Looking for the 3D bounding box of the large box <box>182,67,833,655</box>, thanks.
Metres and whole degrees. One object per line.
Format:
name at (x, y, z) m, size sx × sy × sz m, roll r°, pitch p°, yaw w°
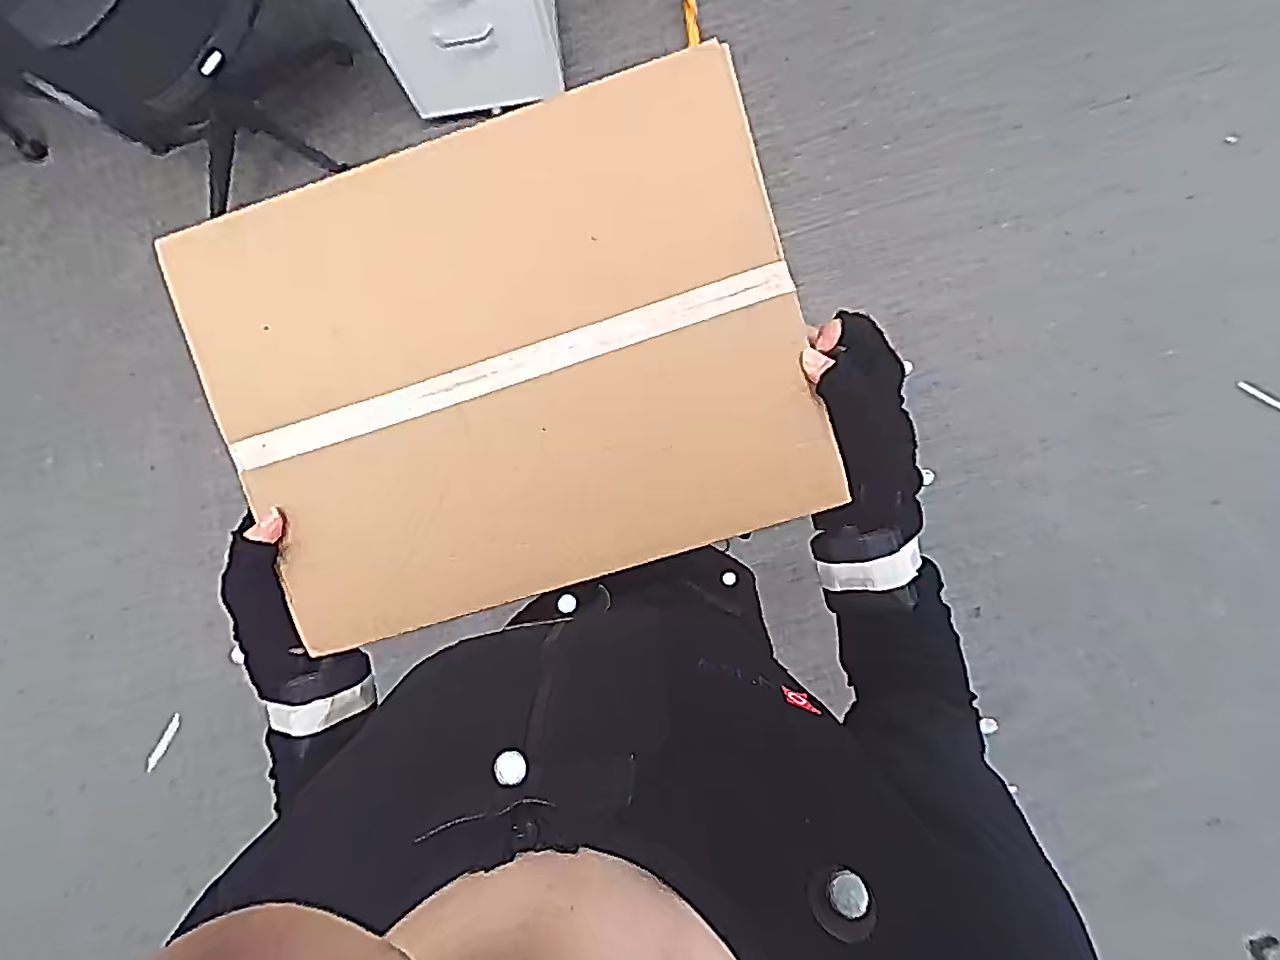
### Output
large box at (-0.087, -0.086, 0.531) m, size 0.408 × 0.320 × 0.320 m, roll -17°, pitch 94°, yaw 5°
